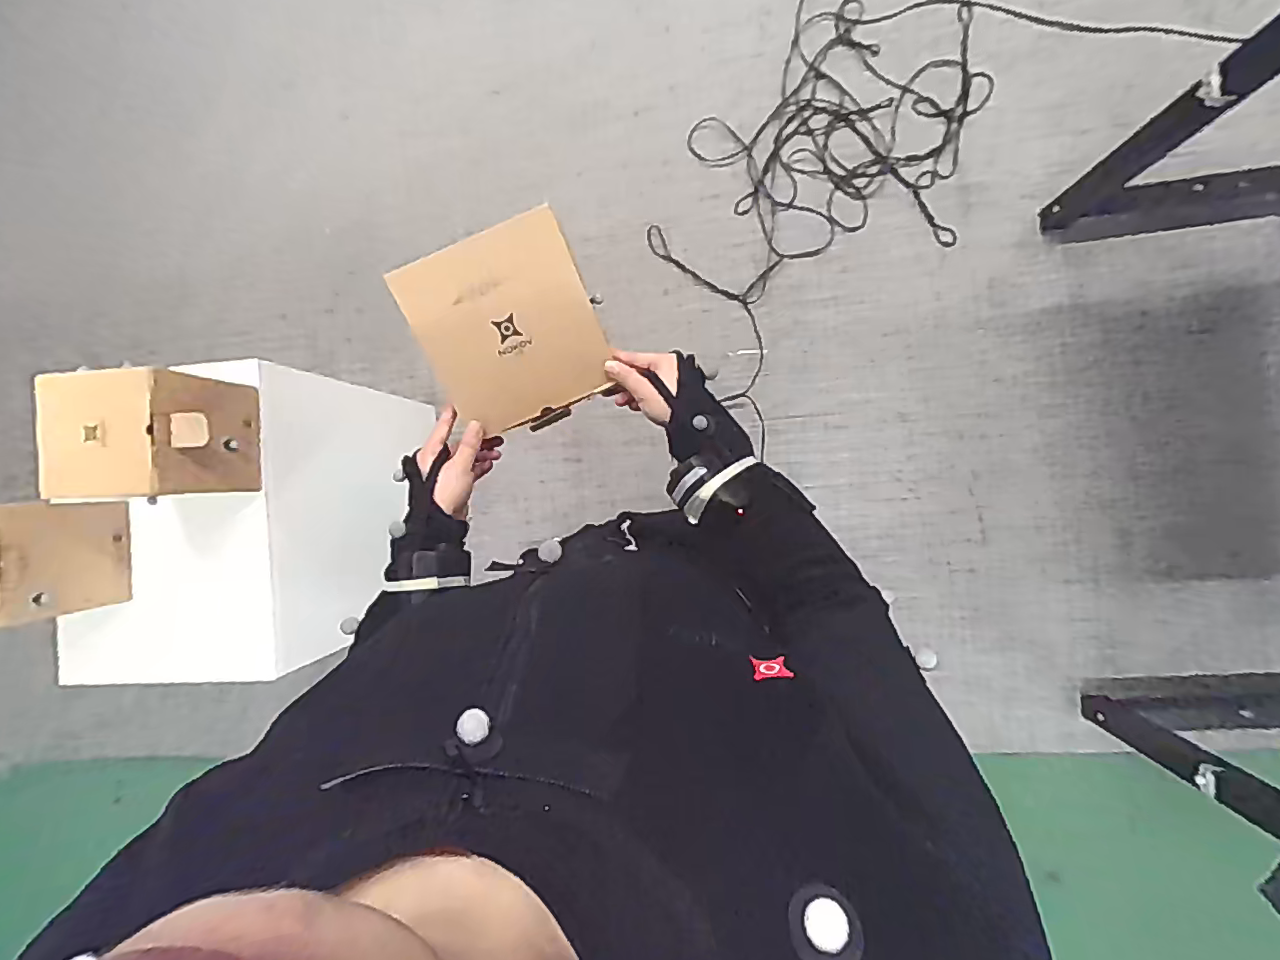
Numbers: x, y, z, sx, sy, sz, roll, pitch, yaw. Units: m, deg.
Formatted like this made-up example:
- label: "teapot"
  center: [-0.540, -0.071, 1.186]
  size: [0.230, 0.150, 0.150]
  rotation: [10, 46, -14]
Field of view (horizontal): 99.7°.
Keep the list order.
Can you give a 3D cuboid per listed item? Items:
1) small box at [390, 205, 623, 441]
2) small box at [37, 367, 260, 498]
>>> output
- label: "small box"
  center: [-0.126, -0.168, 0.584]
  size: [0.168, 0.176, 0.179]
  rotation: [-22, 110, 3]
- label: "small box"
  center: [-0.689, -0.058, 0.772]
  size: [0.179, 0.176, 0.168]
  rotation: [-3, 89, 8]
